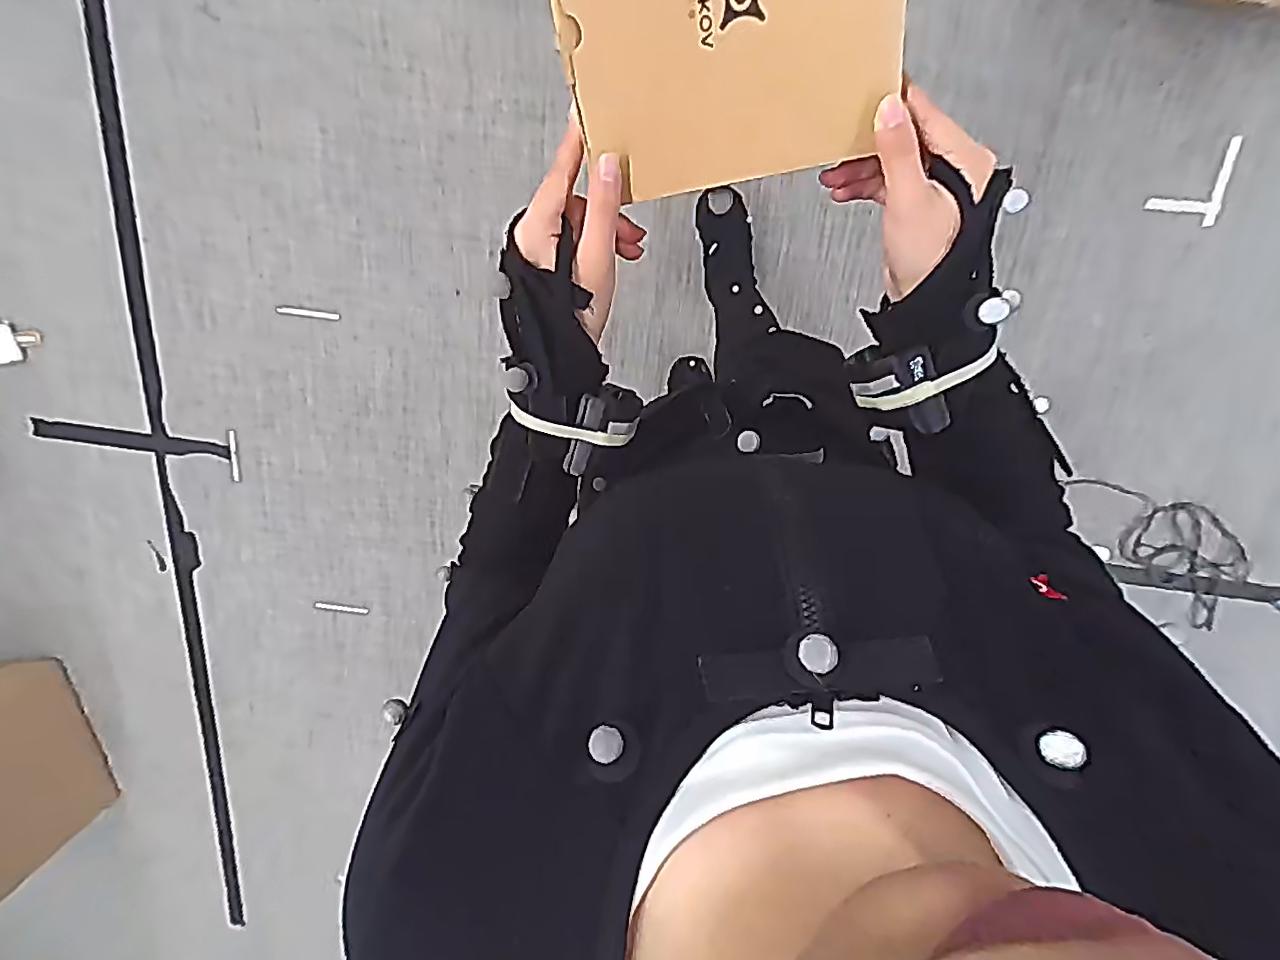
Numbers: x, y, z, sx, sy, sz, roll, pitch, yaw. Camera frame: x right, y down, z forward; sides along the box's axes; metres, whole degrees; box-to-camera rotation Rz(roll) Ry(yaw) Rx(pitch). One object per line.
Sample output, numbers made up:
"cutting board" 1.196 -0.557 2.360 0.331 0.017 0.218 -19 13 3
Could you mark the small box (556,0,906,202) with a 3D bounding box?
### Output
"small box" 0.042 -0.283 0.336 0.179 0.176 0.168 -9 120 4
